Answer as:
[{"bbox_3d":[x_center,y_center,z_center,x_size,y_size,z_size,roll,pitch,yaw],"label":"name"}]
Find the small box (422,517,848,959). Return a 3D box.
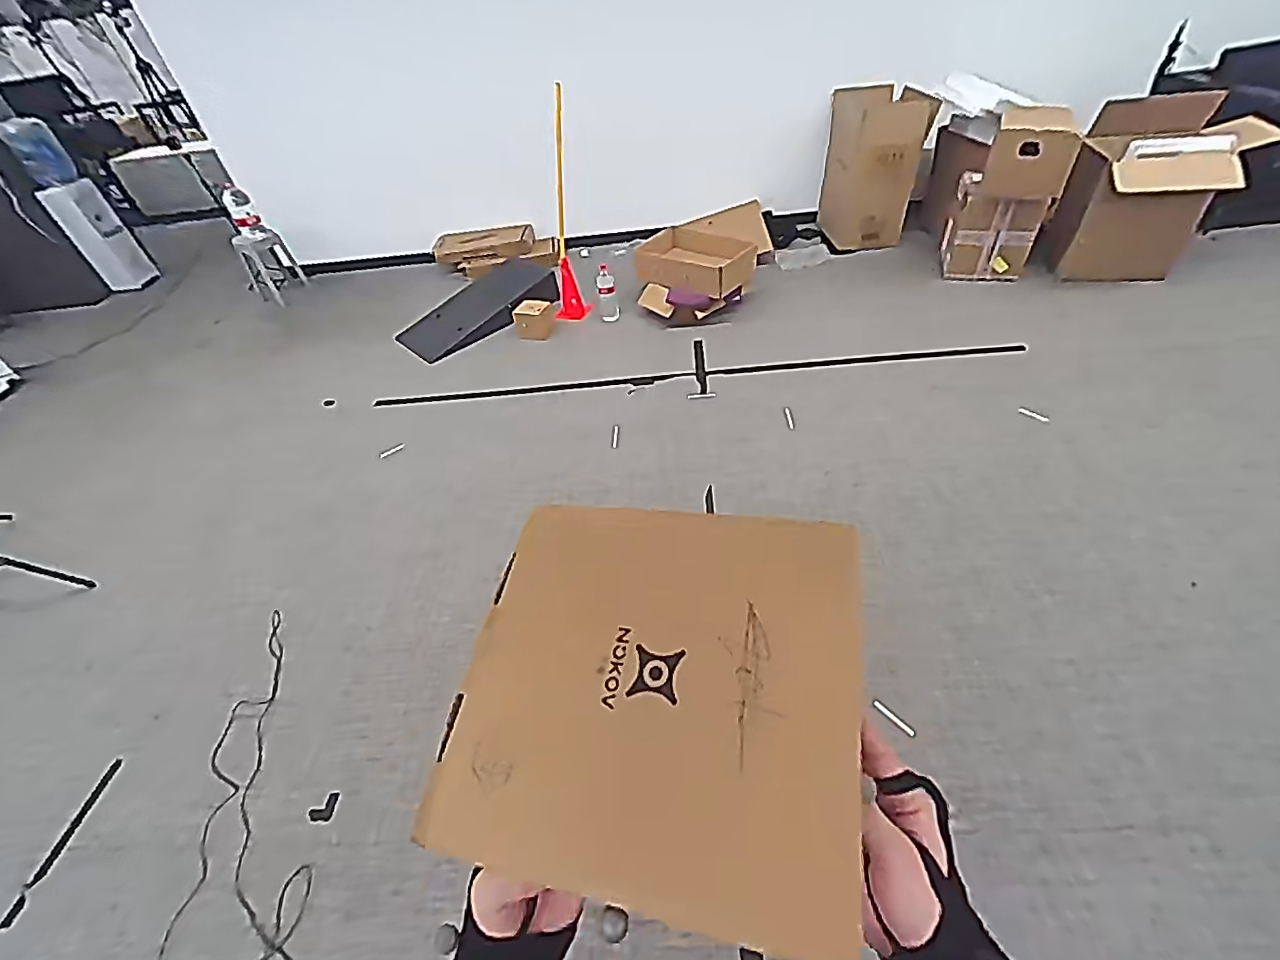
[{"bbox_3d":[0.021,0.137,0.311,0.179,0.176,0.168,2,57,17],"label":"small box"}]
